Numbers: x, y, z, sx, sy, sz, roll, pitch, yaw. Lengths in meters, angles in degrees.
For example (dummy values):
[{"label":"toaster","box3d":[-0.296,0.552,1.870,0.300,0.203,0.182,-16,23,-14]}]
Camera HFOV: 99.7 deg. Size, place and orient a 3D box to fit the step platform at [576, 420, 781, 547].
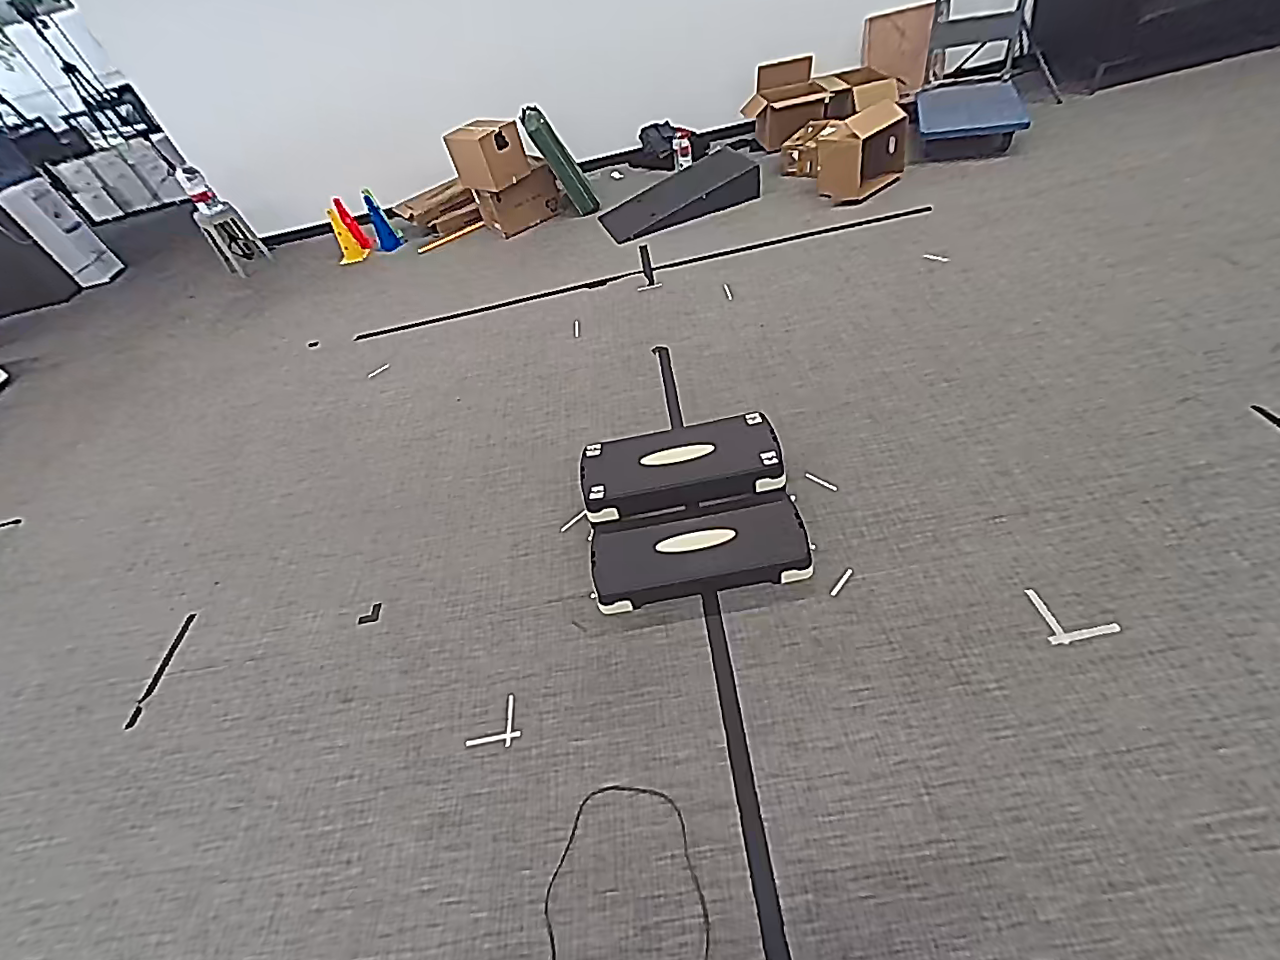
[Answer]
[{"label":"step platform","box3d":[0.124,0.006,1.842,0.684,0.204,0.286,-11,47,3]}]
